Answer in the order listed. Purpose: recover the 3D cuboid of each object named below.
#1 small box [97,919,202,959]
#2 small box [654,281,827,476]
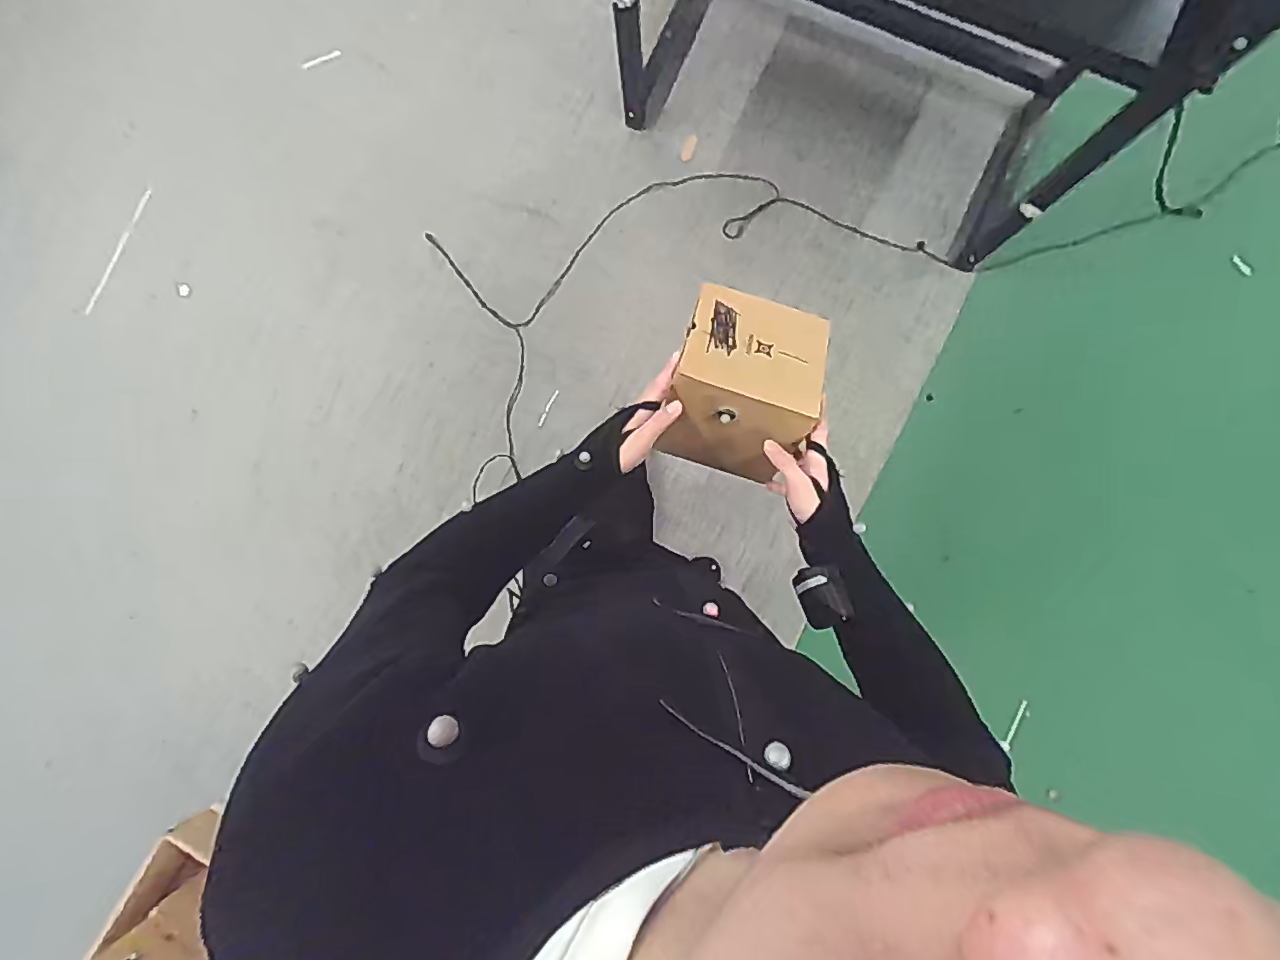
[{"bbox_3d":[-0.932,0.953,0.965,0.168,0.176,0.179,32,88,5],"label":"small box"},{"bbox_3d":[0.127,-0.127,0.726,0.179,0.176,0.168,17,60,0],"label":"small box"}]
